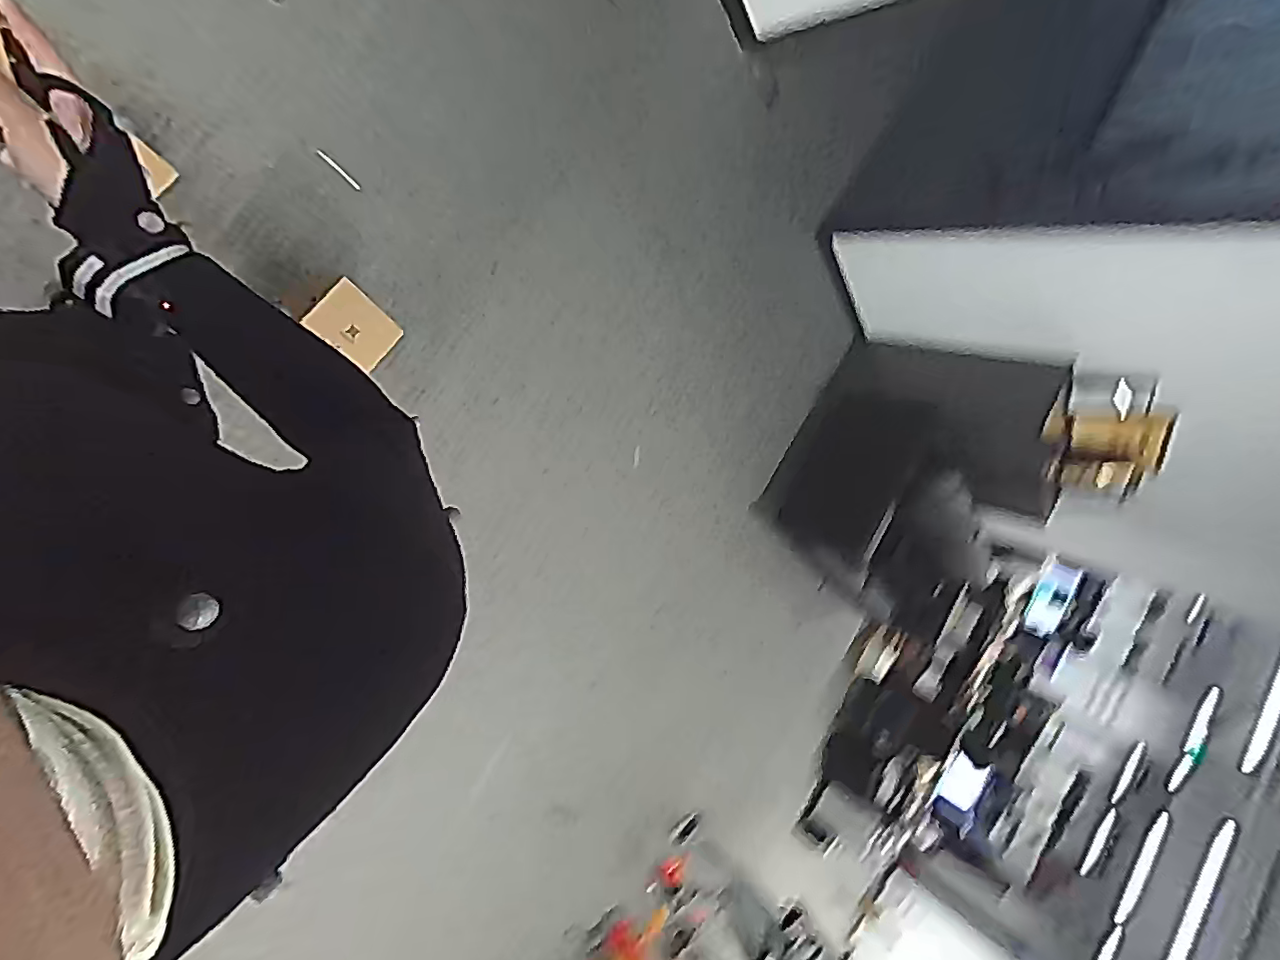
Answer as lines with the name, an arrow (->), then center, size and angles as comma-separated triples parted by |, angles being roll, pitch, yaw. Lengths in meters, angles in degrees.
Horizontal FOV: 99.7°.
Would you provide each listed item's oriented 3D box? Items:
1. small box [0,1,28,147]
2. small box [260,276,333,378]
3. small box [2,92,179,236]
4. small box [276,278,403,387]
small box -> -0.567, -0.361, 0.372 | 0.168, 0.176, 0.179 | -17, 112, -43
small box -> -0.802, -0.381, 1.337 | 0.179, 0.176, 0.168 | -56, 137, -10
small box -> -1.038, -0.591, 1.035 | 0.179, 0.176, 0.168 | -55, 137, -13
small box -> -0.685, -0.340, 1.227 | 0.179, 0.176, 0.168 | -54, 135, -14
